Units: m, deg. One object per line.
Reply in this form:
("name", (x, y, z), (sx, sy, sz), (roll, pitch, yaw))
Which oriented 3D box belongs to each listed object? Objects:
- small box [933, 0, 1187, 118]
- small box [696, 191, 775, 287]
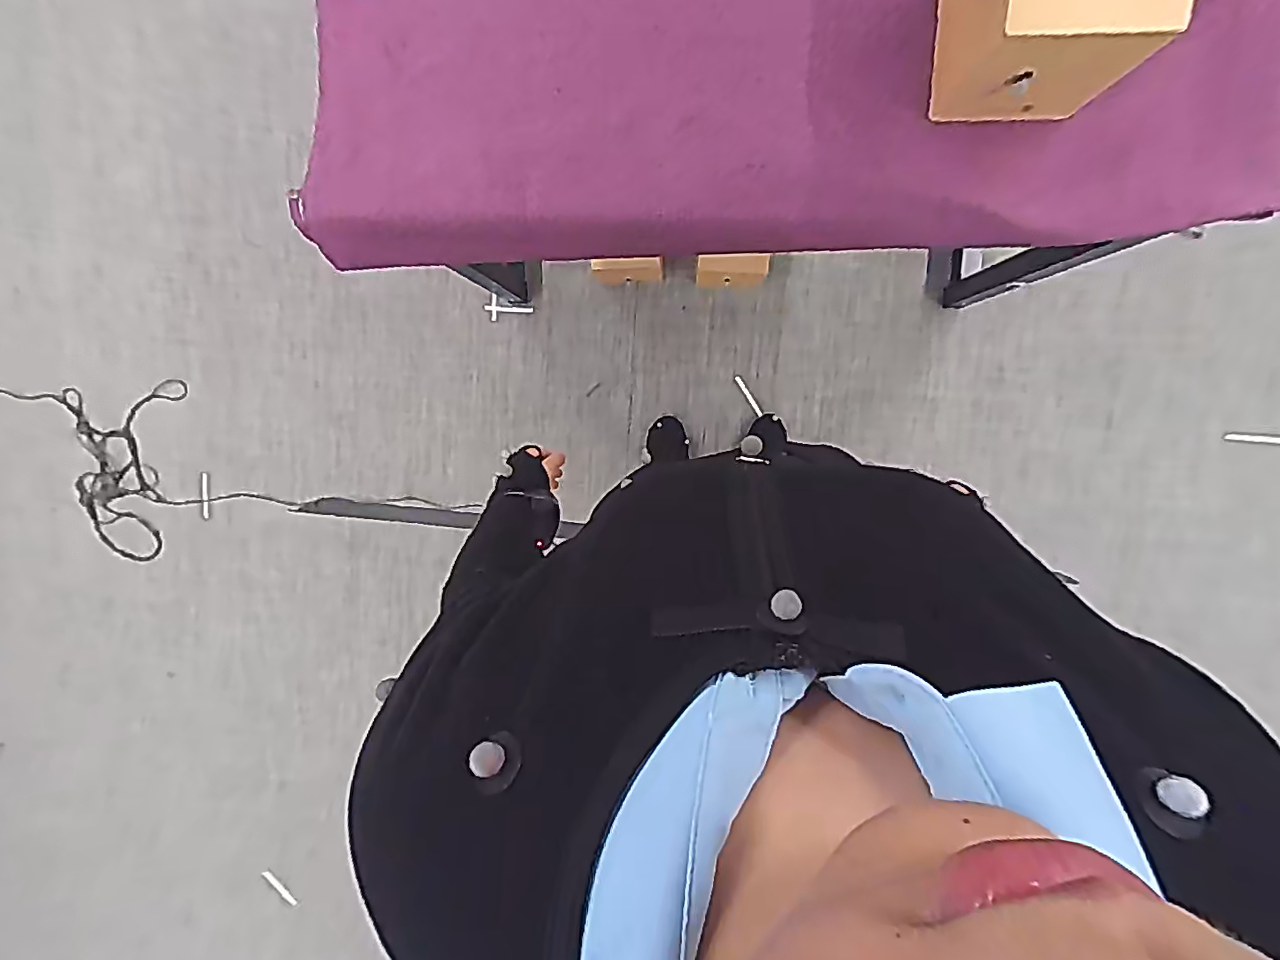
("small box", (0.441, -0.521, 0.584), (0.168, 0.176, 0.179), (2, 98, 4))
("small box", (0.227, -0.584, 1.330), (0.168, 0.176, 0.179), (5, 98, 3))
